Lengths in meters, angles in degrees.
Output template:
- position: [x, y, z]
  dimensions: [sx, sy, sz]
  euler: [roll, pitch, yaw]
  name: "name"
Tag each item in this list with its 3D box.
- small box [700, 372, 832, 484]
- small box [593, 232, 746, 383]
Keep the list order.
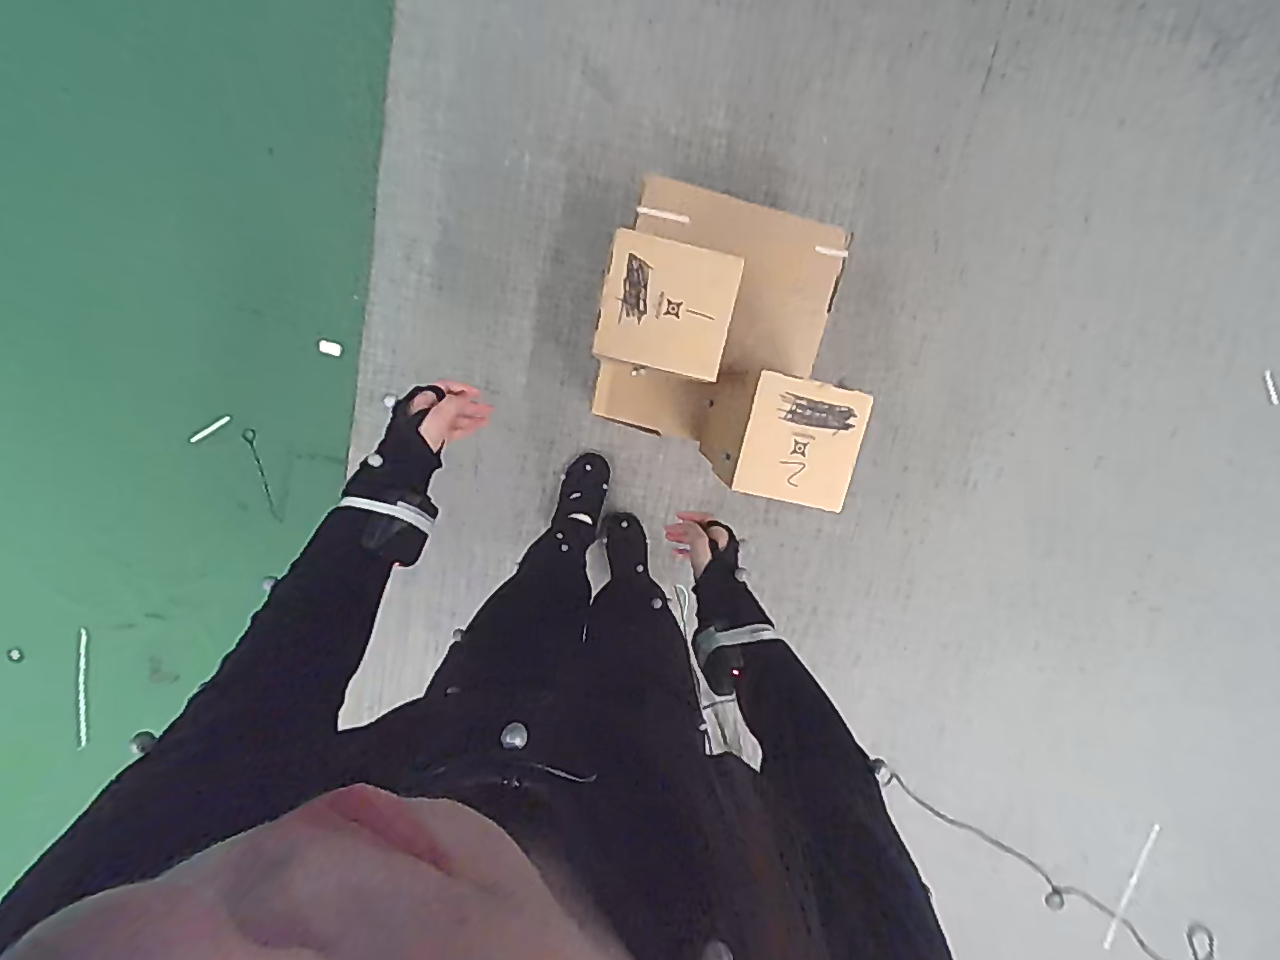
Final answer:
- position: [0.221, -0.101, 0.997]
  dimensions: [0.179, 0.176, 0.168]
  euler: [11, 99, -3]
  name: "small box"
- position: [0.038, -0.240, 0.797]
  dimensions: [0.179, 0.176, 0.168]
  euler: [12, 100, -3]
  name: "small box"
